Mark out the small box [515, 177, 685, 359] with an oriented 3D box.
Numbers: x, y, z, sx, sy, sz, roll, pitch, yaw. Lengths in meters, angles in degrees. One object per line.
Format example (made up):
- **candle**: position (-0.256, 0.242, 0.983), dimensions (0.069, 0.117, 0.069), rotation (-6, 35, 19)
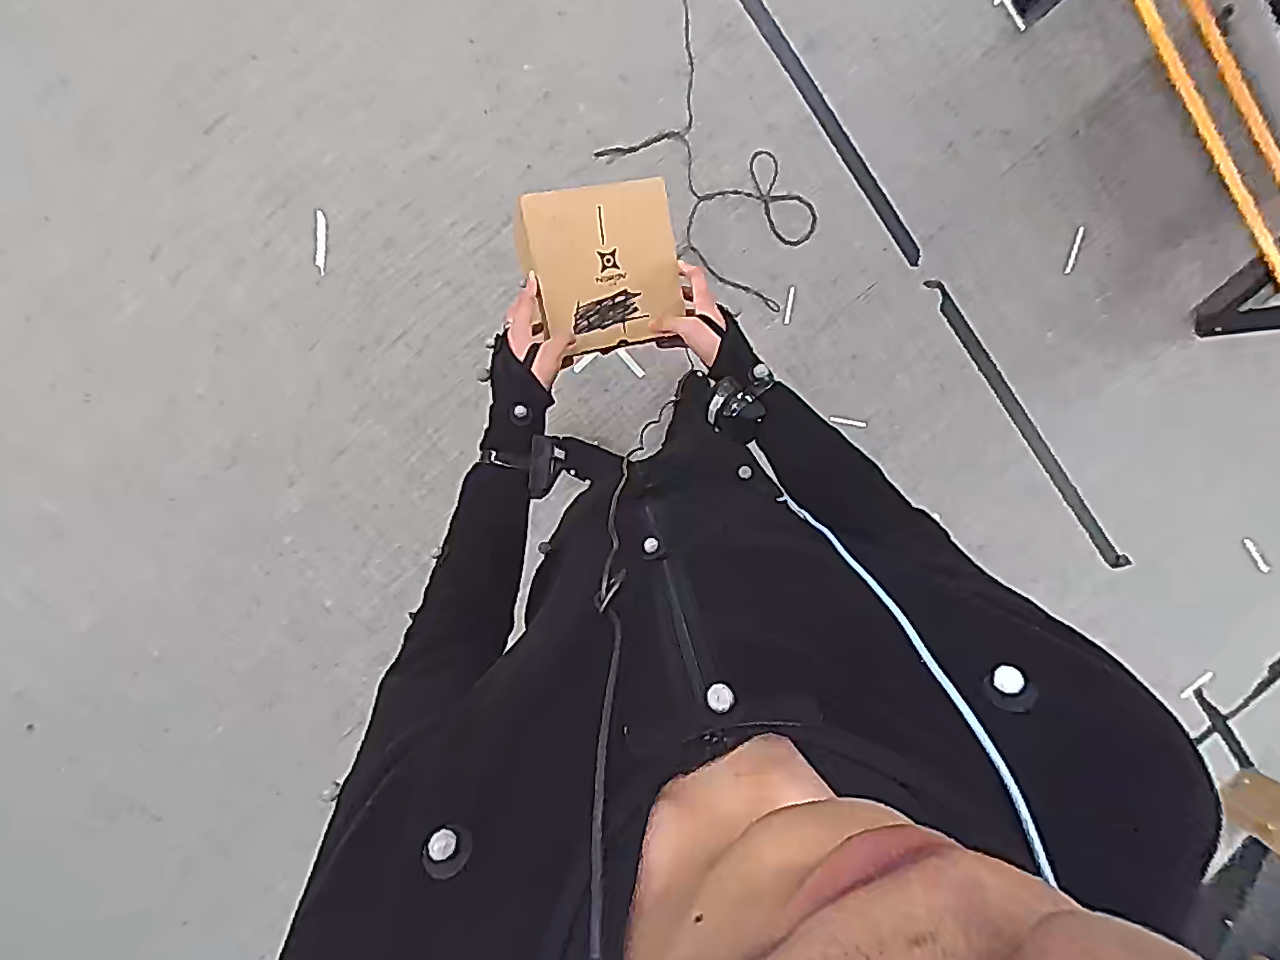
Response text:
- **small box**: position (-0.056, -0.255, 0.680), dimensions (0.168, 0.176, 0.179), rotation (-14, 105, -12)
